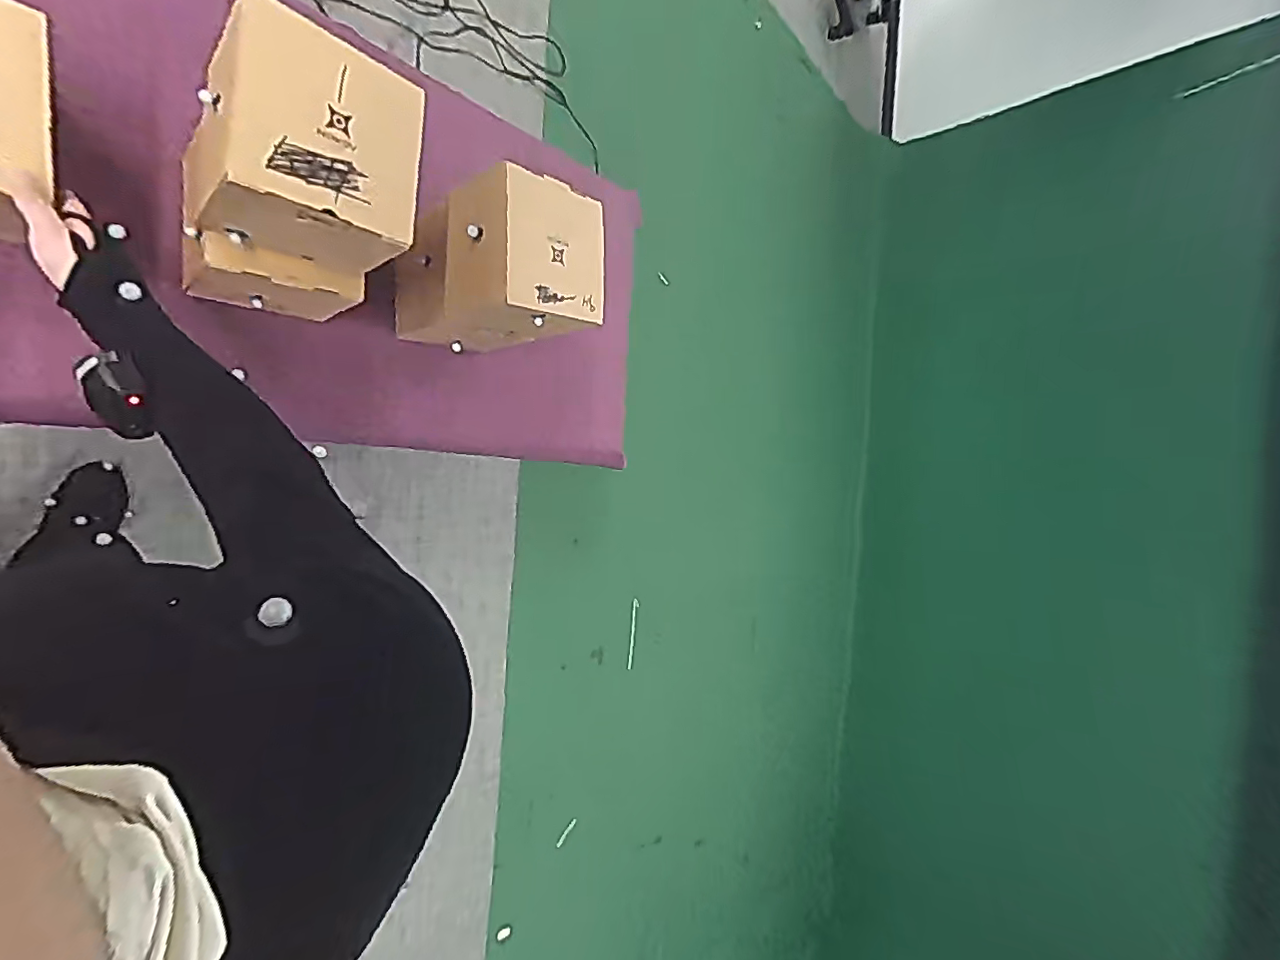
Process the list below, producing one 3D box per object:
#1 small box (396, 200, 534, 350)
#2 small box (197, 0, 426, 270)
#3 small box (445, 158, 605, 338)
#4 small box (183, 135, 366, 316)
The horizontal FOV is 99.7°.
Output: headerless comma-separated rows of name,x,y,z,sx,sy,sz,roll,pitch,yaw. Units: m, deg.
small box,-0.287,-0.321,0.888,0.168,0.176,0.179,-3,95,-47
small box,-0.352,-0.347,0.578,0.168,0.176,0.179,5,89,-47
small box,-0.167,-0.314,0.776,0.168,0.176,0.179,-4,95,-46
small box,-0.470,-0.324,0.695,0.168,0.176,0.179,-1,94,-47
